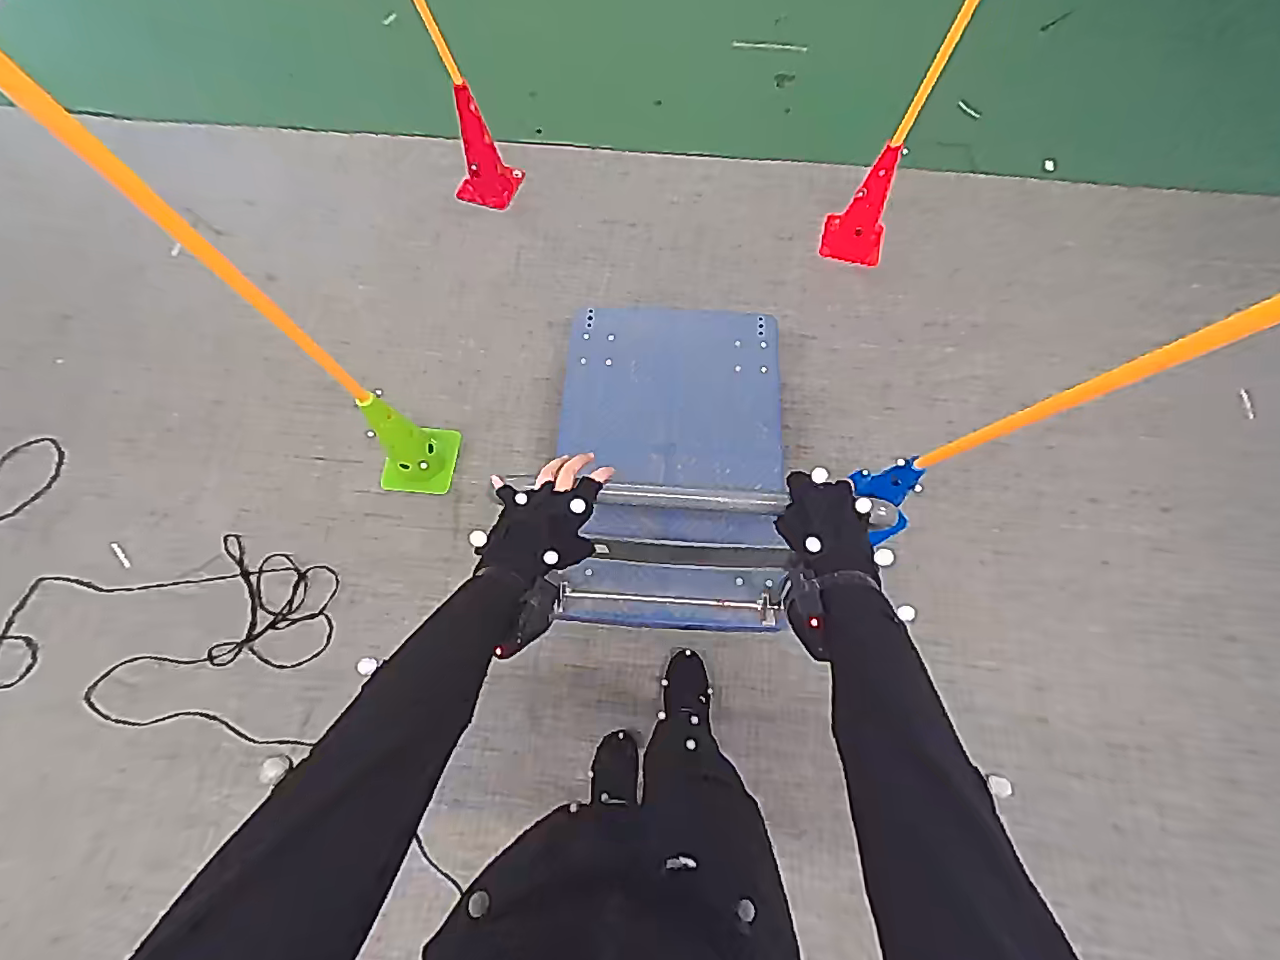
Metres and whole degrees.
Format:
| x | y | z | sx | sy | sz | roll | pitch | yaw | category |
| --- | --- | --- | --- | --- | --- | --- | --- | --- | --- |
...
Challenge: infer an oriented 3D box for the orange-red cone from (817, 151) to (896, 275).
| x | y | z | sx | sy | sz | roll | pitch | yaw | category |
| --- | --- | --- | --- | --- | --- | --- | --- | --- | --- |
| 0.716 | -0.857 | 1.701 | 0.198 | 0.360 | 0.199 | 16 | 70 | 7 | orange-red cone |
